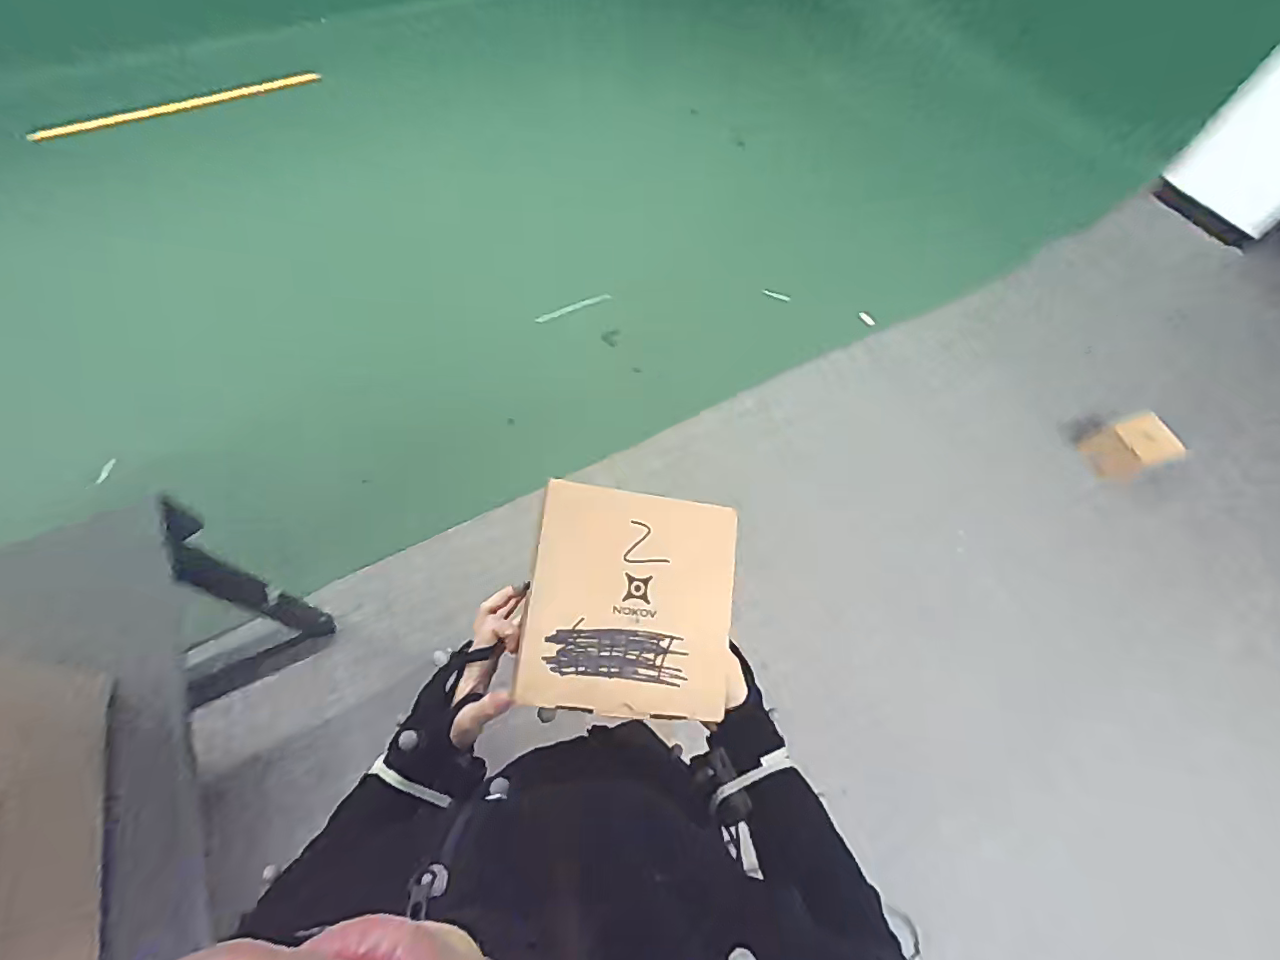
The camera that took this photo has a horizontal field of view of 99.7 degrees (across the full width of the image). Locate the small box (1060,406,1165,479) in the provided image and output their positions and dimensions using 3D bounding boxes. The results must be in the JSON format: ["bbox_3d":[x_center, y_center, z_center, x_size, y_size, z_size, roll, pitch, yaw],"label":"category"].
[{"bbox_3d":[1.629,-0.127,1.876,0.179,0.176,0.168,-16,65,-12],"label":"small box"}]
